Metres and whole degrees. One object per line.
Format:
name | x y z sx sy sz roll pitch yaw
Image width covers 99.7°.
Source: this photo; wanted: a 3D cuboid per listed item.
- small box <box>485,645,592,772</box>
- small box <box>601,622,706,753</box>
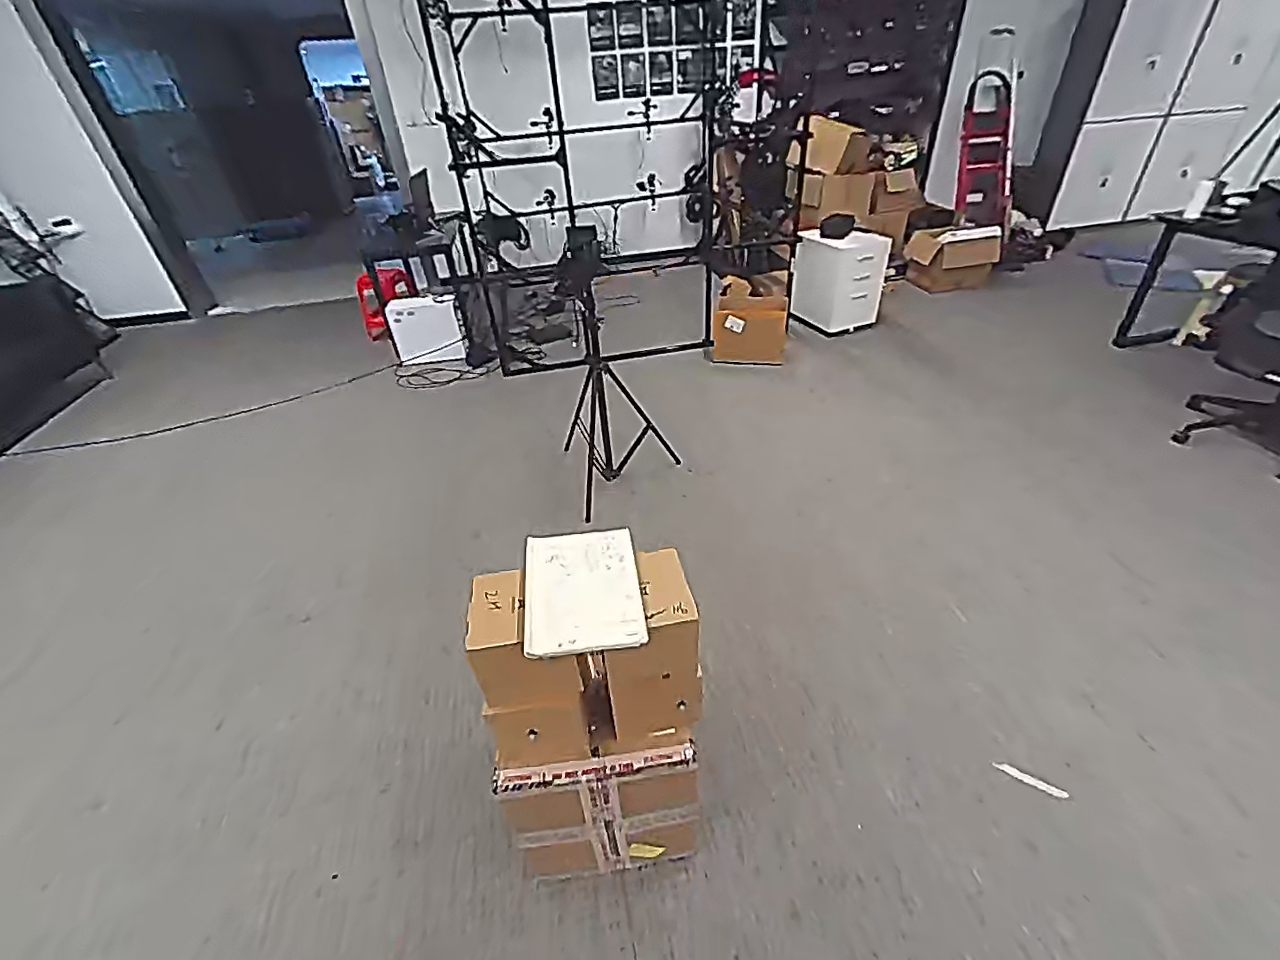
small box | -0.188 0.451 1.066 0.179 0.176 0.168 -6 38 0
small box | 0.024 0.418 1.089 0.179 0.176 0.168 -10 38 -8
